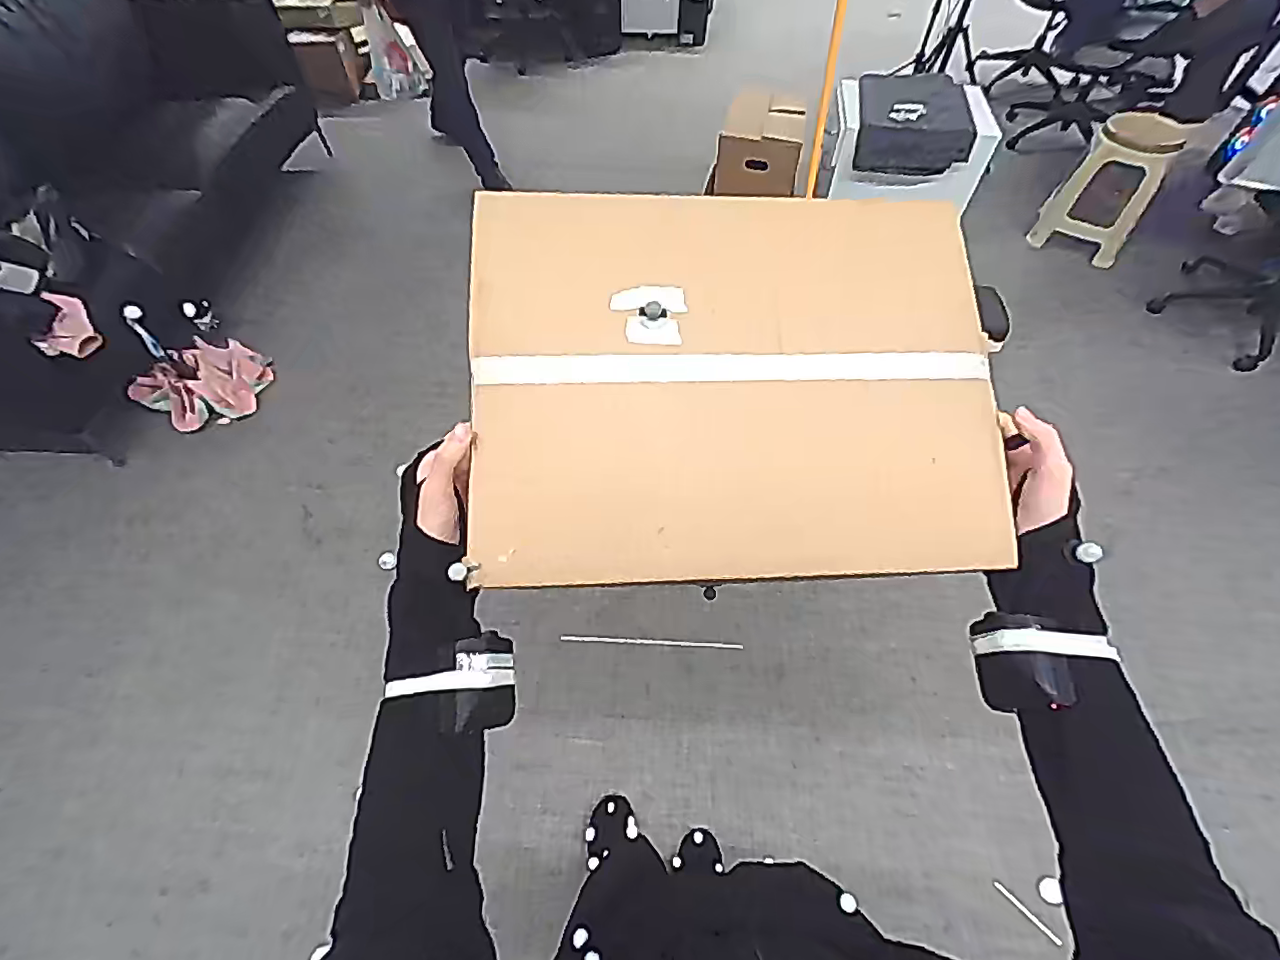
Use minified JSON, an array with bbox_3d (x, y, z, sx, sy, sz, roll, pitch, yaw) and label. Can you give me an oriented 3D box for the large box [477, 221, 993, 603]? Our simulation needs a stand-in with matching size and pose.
[{"bbox_3d":[0.064,-0.041,0.581,0.408,0.320,0.320,-2,78,-4],"label":"large box"}]
